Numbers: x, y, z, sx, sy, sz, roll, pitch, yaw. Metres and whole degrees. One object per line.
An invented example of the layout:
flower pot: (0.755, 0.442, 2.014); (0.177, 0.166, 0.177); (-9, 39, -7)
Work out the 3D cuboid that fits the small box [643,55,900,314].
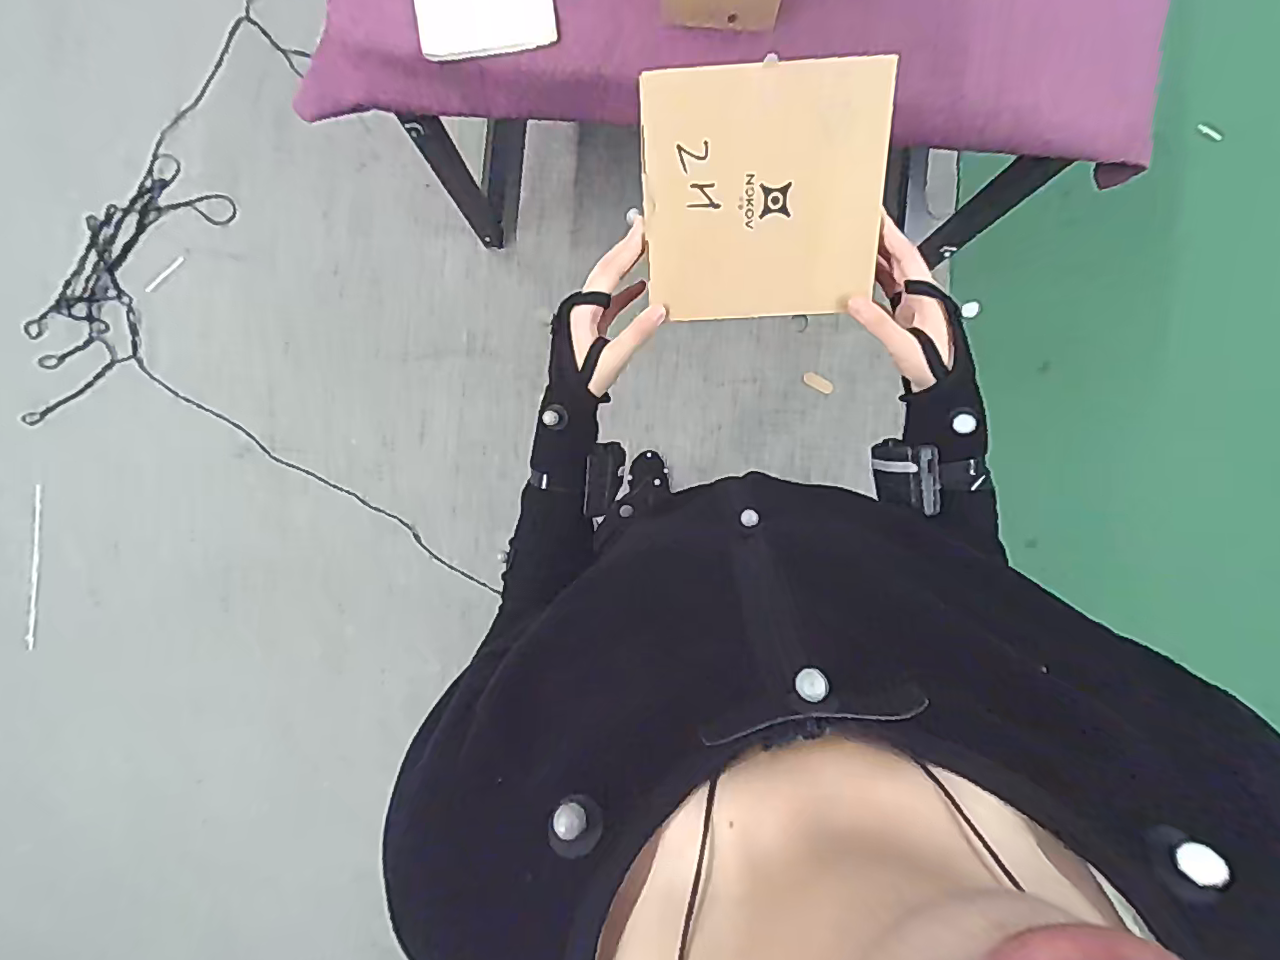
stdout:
small box: (0.092, -0.239, 0.467); (0.179, 0.176, 0.168); (-2, 112, 2)
